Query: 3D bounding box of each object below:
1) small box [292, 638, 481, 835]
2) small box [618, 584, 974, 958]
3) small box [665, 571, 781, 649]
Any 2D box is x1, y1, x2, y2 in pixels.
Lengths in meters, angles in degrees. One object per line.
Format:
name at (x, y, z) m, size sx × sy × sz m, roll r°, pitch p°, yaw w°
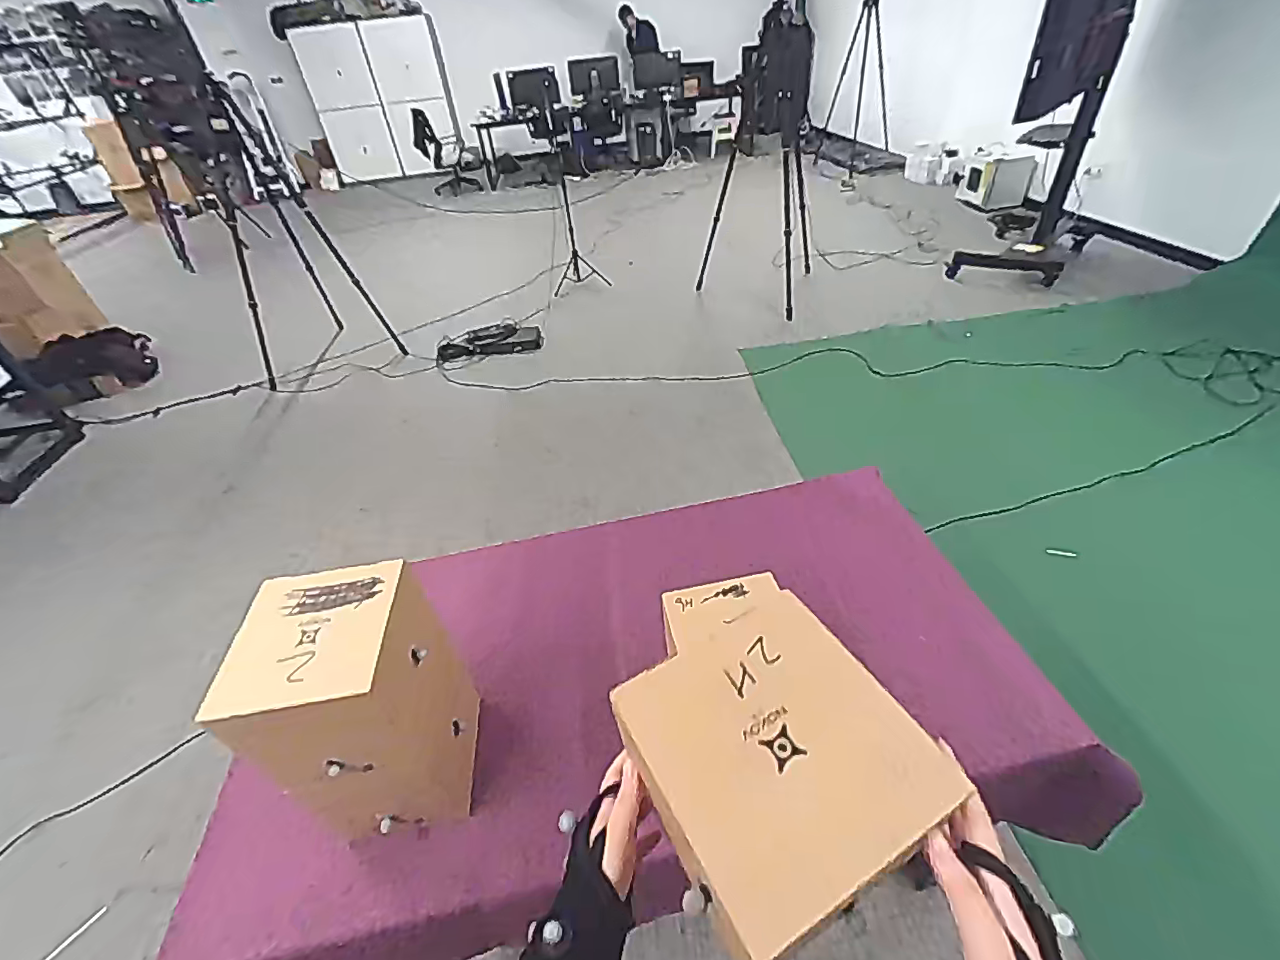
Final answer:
small box at (-0.322, 0.345, 0.733) m, size 0.168 × 0.176 × 0.179 m, roll -9°, pitch 41°, yaw -3°
small box at (0.102, 0.222, 0.417) m, size 0.168 × 0.176 × 0.179 m, roll -25°, pitch 46°, yaw -16°
small box at (0.136, 0.261, 0.766) m, size 0.168 × 0.176 × 0.179 m, roll -10°, pitch 41°, yaw -4°
